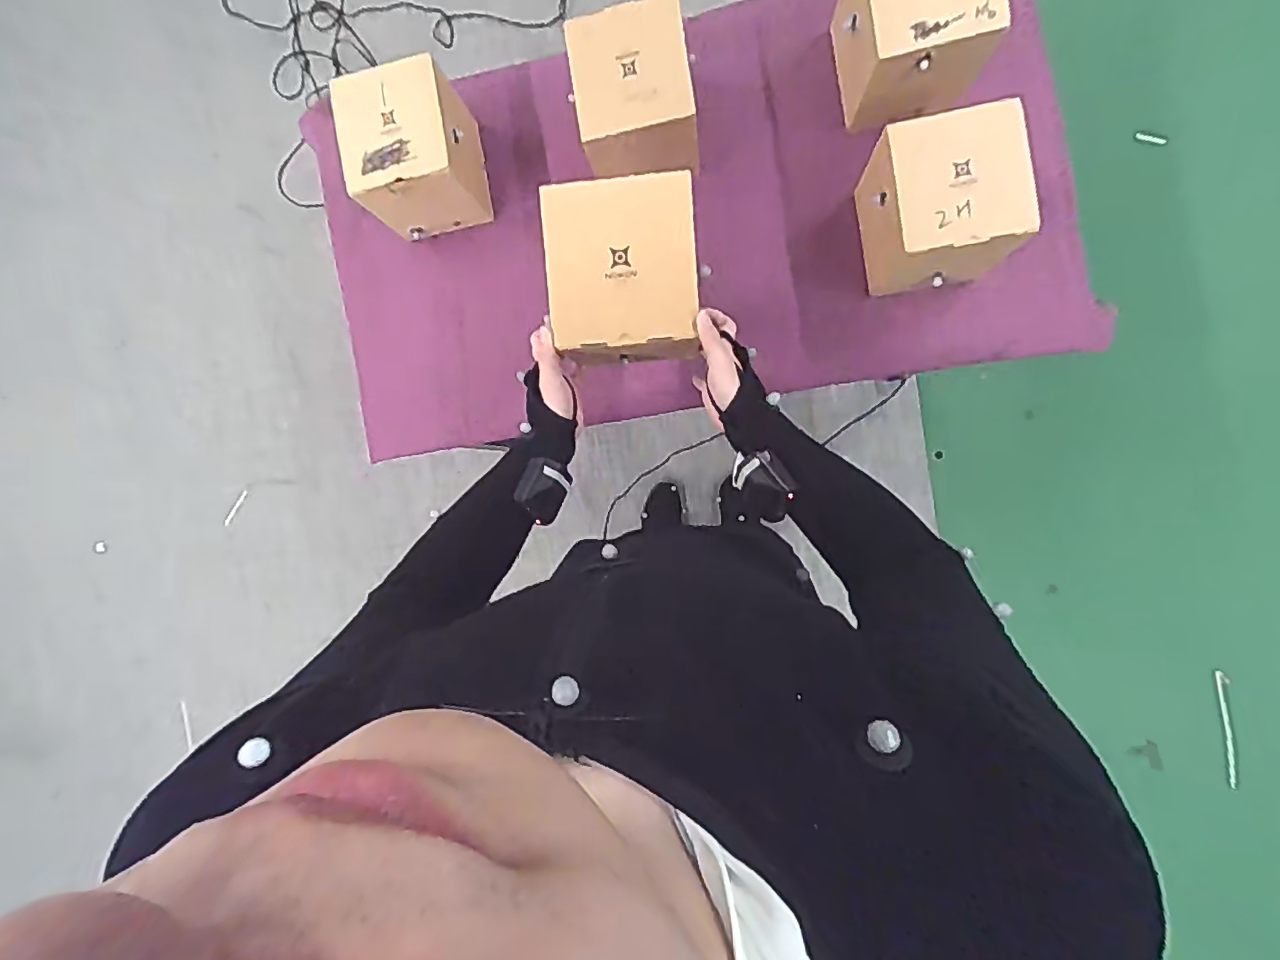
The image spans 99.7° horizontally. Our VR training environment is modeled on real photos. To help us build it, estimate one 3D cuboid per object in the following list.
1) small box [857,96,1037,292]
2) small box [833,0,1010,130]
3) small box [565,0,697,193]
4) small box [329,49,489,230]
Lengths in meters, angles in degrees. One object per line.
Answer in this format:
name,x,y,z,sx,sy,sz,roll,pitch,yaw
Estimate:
small box,0.421,-0.392,0.771,0.168,0.176,0.179,-7,89,8
small box,0.386,-0.652,0.773,0.168,0.176,0.179,-9,90,8
small box,-0.006,-0.578,0.827,0.168,0.176,0.179,-8,91,8
small box,-0.358,-0.527,0.869,0.168,0.176,0.179,-10,89,7
